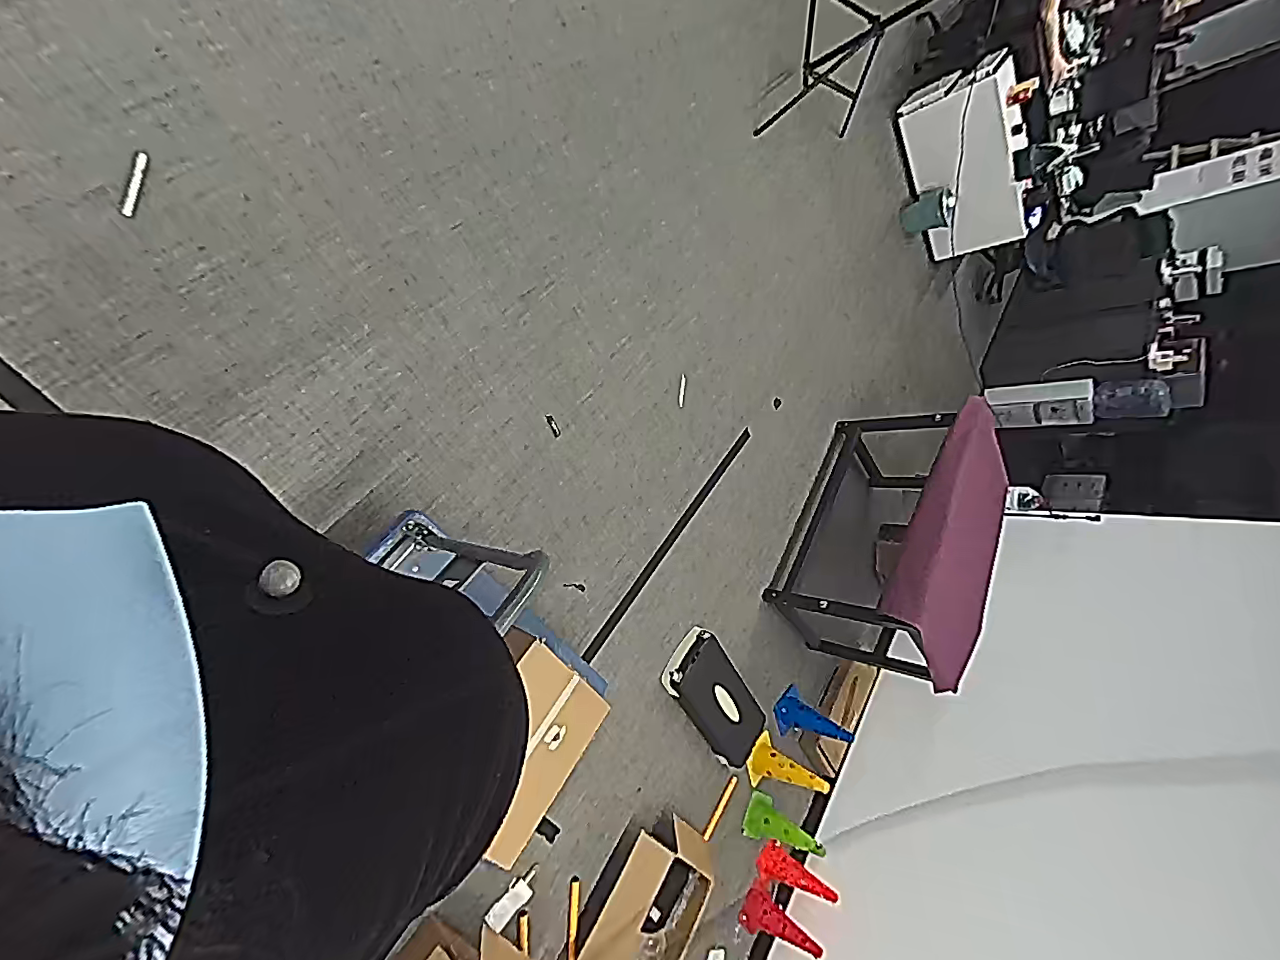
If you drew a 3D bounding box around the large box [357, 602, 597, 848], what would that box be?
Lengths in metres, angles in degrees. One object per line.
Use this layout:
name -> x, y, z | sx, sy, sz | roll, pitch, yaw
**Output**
large box -> -0.388, 0.570, 1.318 | 0.408, 0.320, 0.320 | -54, 125, -29
